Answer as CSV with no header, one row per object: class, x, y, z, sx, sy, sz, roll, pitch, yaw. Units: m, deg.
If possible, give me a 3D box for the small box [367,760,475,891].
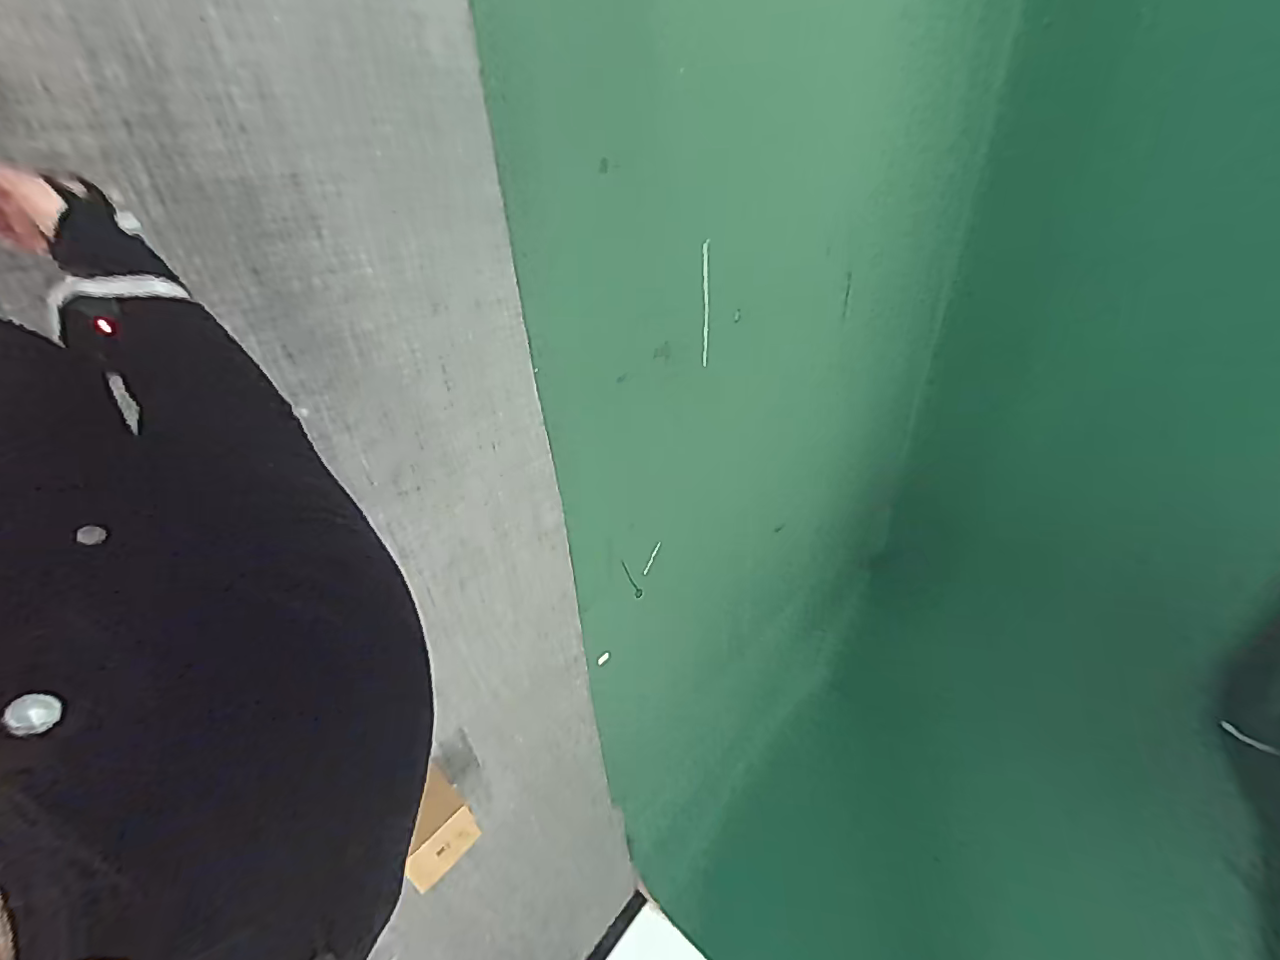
small box,-0.541,0.838,1.325,0.179,0.176,0.168,-35,134,-35
